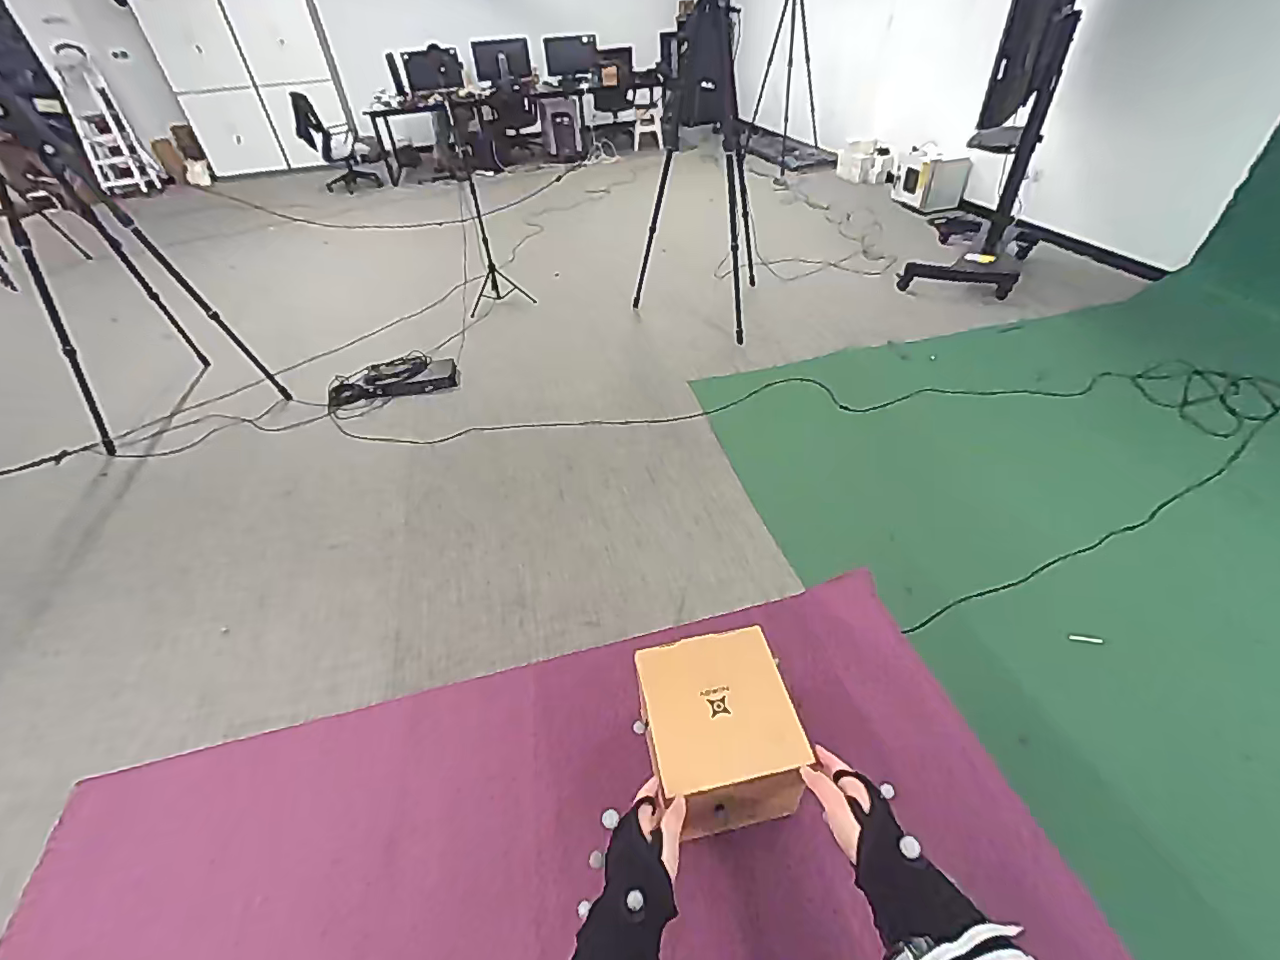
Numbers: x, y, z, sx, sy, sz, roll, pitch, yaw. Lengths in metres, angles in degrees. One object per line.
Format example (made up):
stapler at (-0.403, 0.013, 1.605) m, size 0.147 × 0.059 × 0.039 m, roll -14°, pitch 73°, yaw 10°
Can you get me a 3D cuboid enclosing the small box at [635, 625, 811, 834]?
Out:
small box at (0.095, 0.315, 0.677) m, size 0.168 × 0.176 × 0.179 m, roll -11°, pitch 41°, yaw -5°
